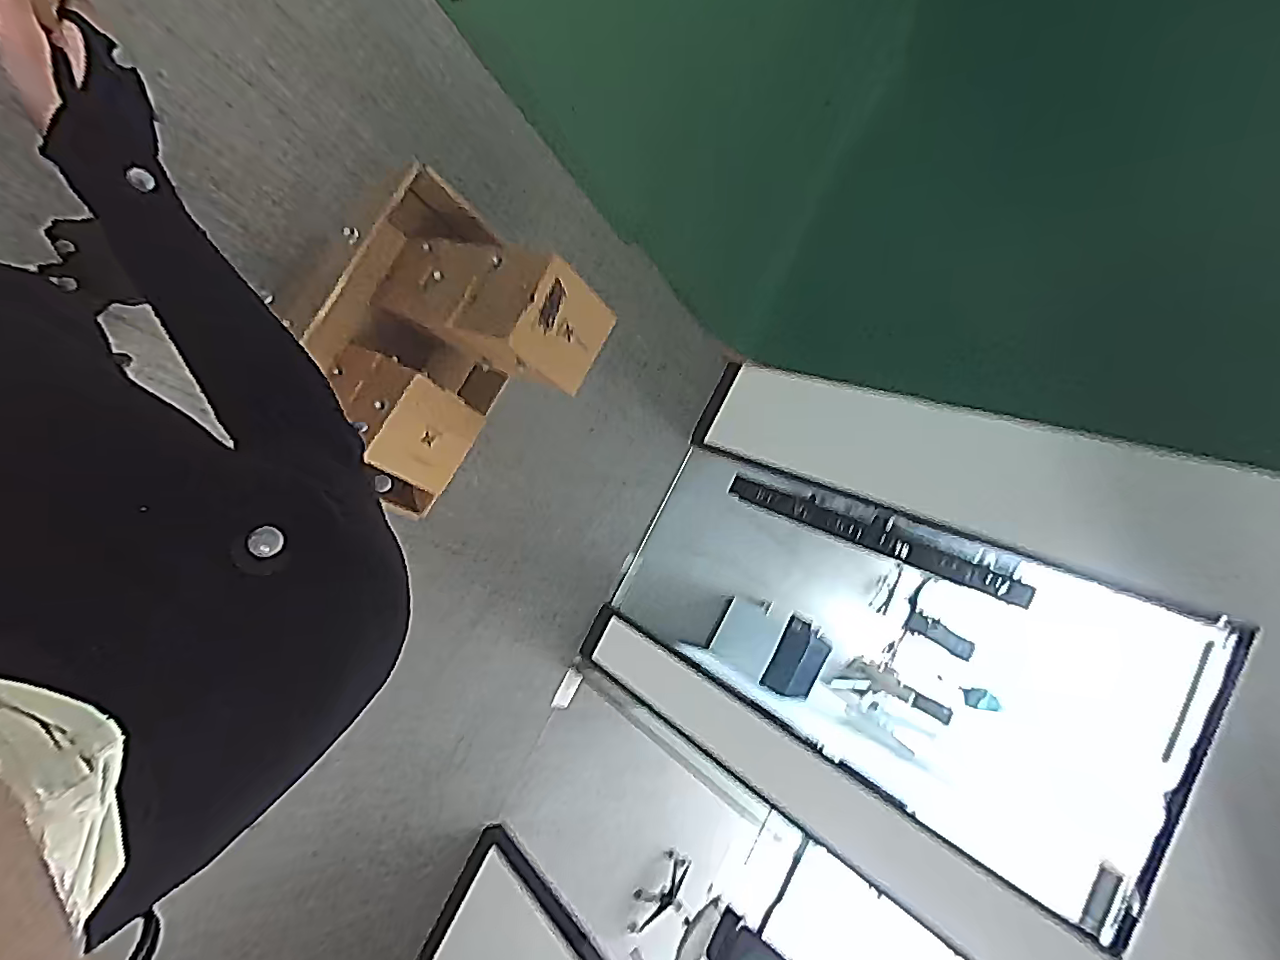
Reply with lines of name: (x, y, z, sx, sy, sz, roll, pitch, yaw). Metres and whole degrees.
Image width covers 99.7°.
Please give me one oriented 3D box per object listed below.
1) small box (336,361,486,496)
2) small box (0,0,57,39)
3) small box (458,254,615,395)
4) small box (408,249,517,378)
small box: (-0.435, -0.101, 1.020, 0.179, 0.176, 0.168, -59, 140, -7)
small box: (-0.490, -0.418, 0.335, 0.179, 0.176, 0.168, 5, 106, -52)
small box: (-0.183, -0.275, 0.952, 0.179, 0.176, 0.168, 35, 82, -52)
small box: (-0.306, -0.327, 1.048, 0.179, 0.176, 0.168, 37, 80, -51)
